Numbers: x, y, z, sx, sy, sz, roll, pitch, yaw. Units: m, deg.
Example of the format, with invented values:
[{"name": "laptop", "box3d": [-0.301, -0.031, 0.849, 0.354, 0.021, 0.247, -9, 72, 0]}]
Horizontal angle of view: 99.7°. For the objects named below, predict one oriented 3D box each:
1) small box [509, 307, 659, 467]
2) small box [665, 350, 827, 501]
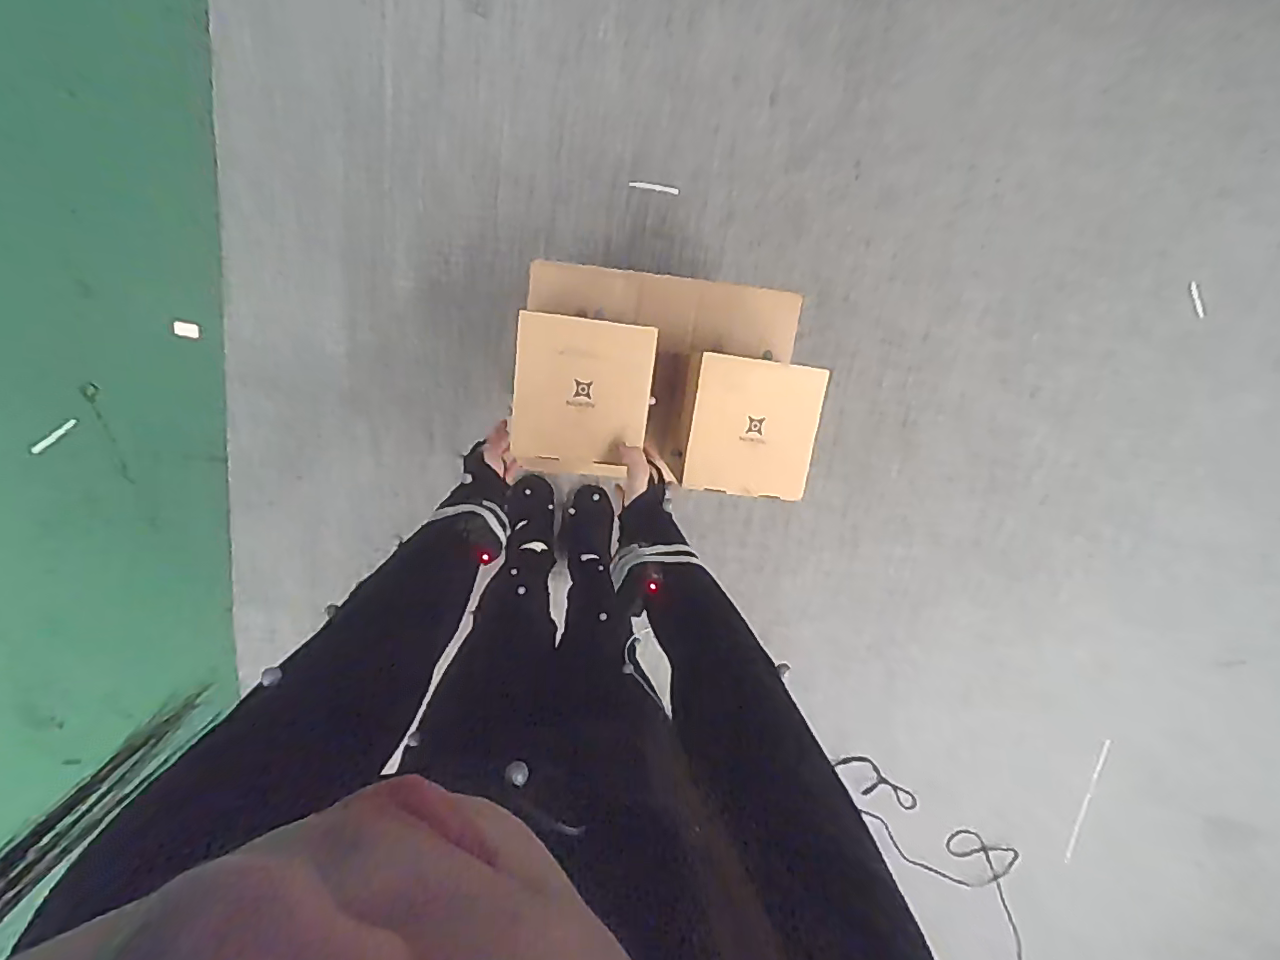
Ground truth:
[{"name": "small box", "box3d": [-0.080, -0.130, 0.731, 0.168, 0.176, 0.179, 6, 105, -11]}, {"name": "small box", "box3d": [0.136, -0.085, 0.767, 0.168, 0.176, 0.179, 7, 104, -7]}]
